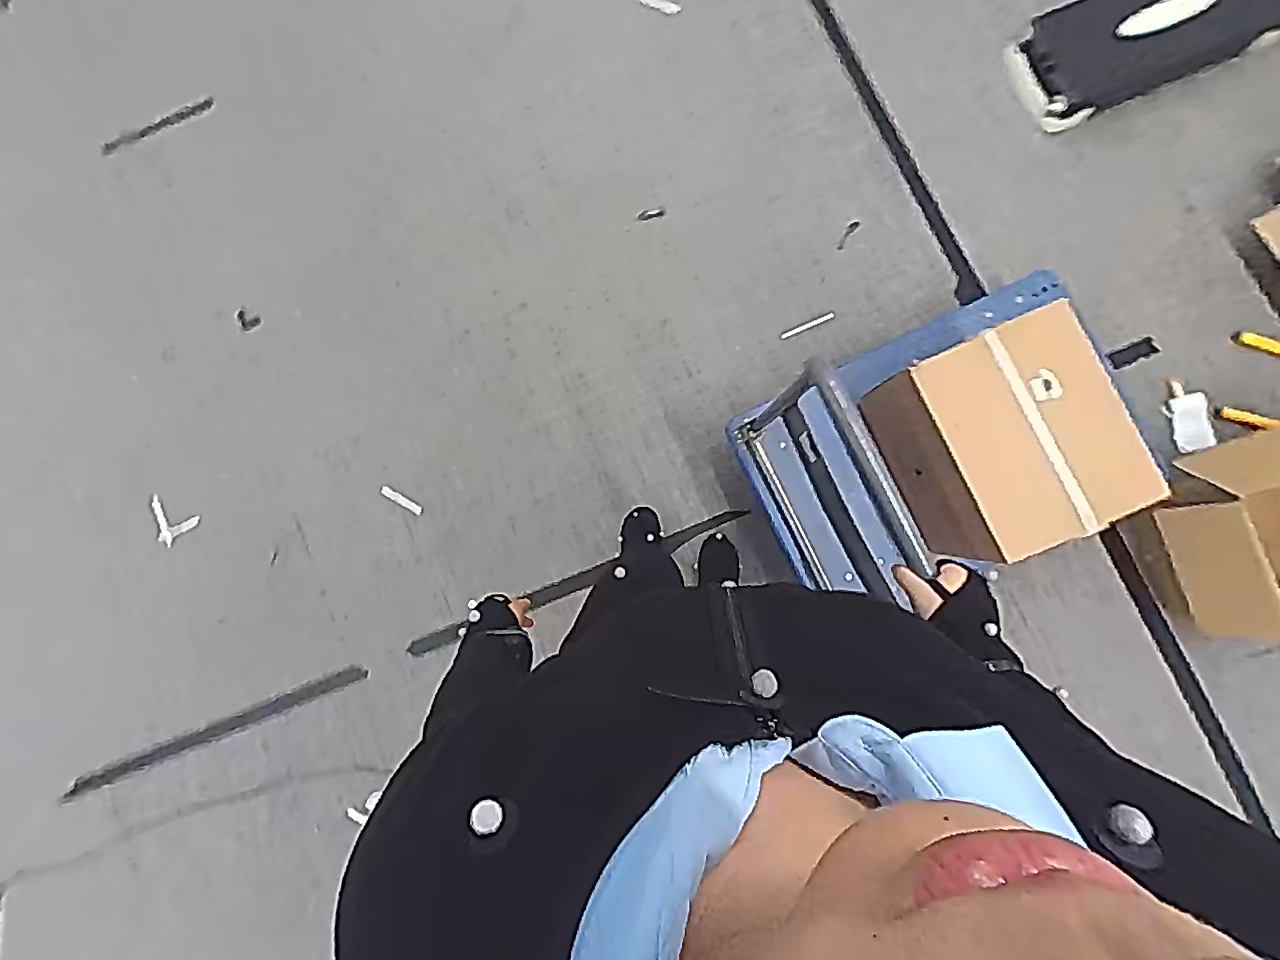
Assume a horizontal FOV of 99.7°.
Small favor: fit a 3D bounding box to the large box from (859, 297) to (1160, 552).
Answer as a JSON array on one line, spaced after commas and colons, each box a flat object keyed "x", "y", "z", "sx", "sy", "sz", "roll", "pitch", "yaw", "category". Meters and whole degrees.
[{"x": 0.737, "y": -0.095, "z": 1.152, "sx": 0.320, "sy": 0.320, "sz": 0.408, "roll": -25, "pitch": 84, "yaw": 2, "category": "large box"}]
